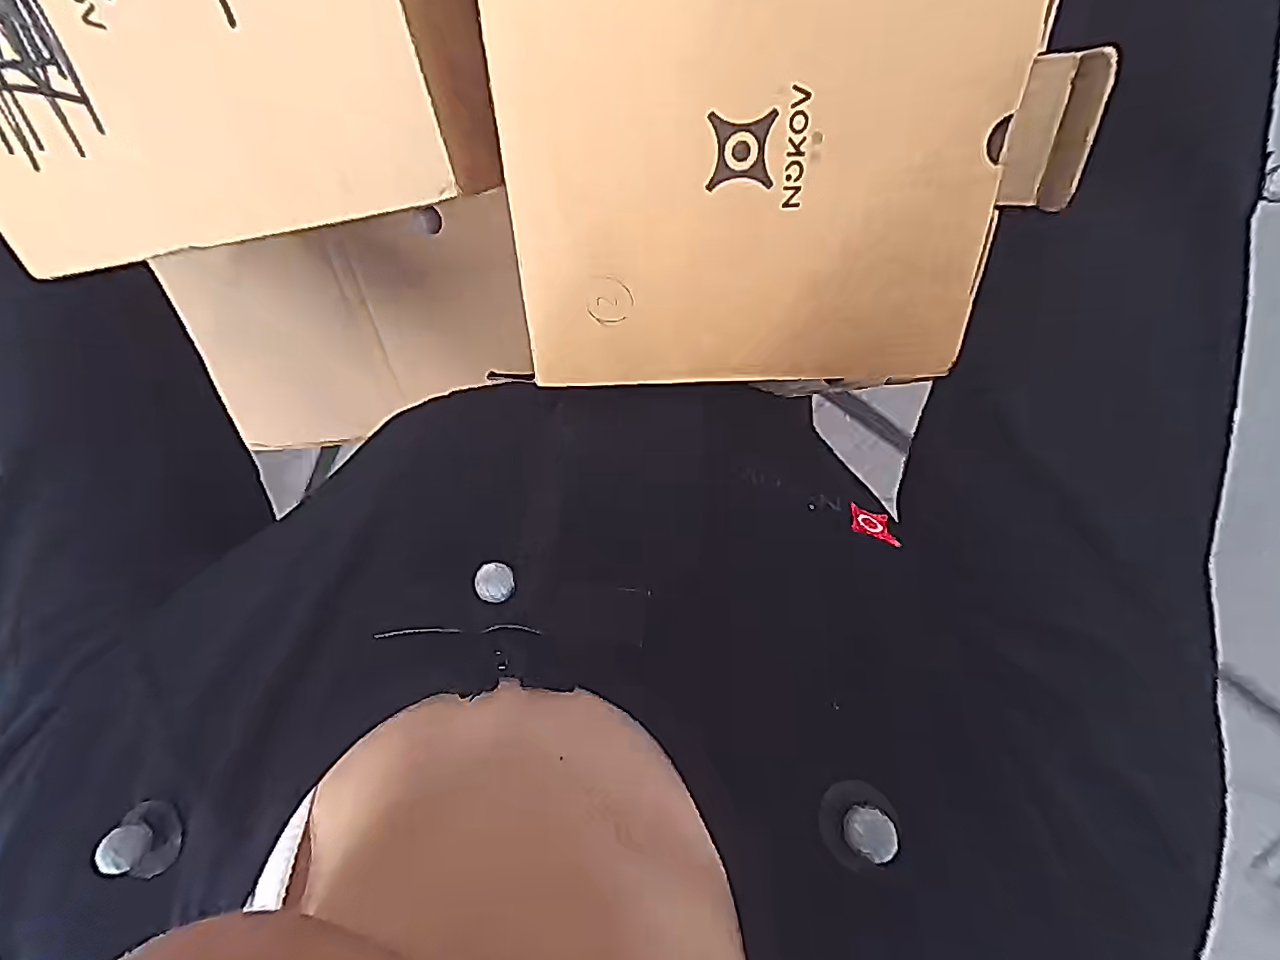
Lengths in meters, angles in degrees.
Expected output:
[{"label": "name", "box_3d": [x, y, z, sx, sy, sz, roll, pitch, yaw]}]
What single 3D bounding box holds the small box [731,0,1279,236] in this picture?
[{"label": "small box", "box_3d": [0.143, -0.208, 0.197, 0.179, 0.176, 0.168, 11, 128, -5]}]
